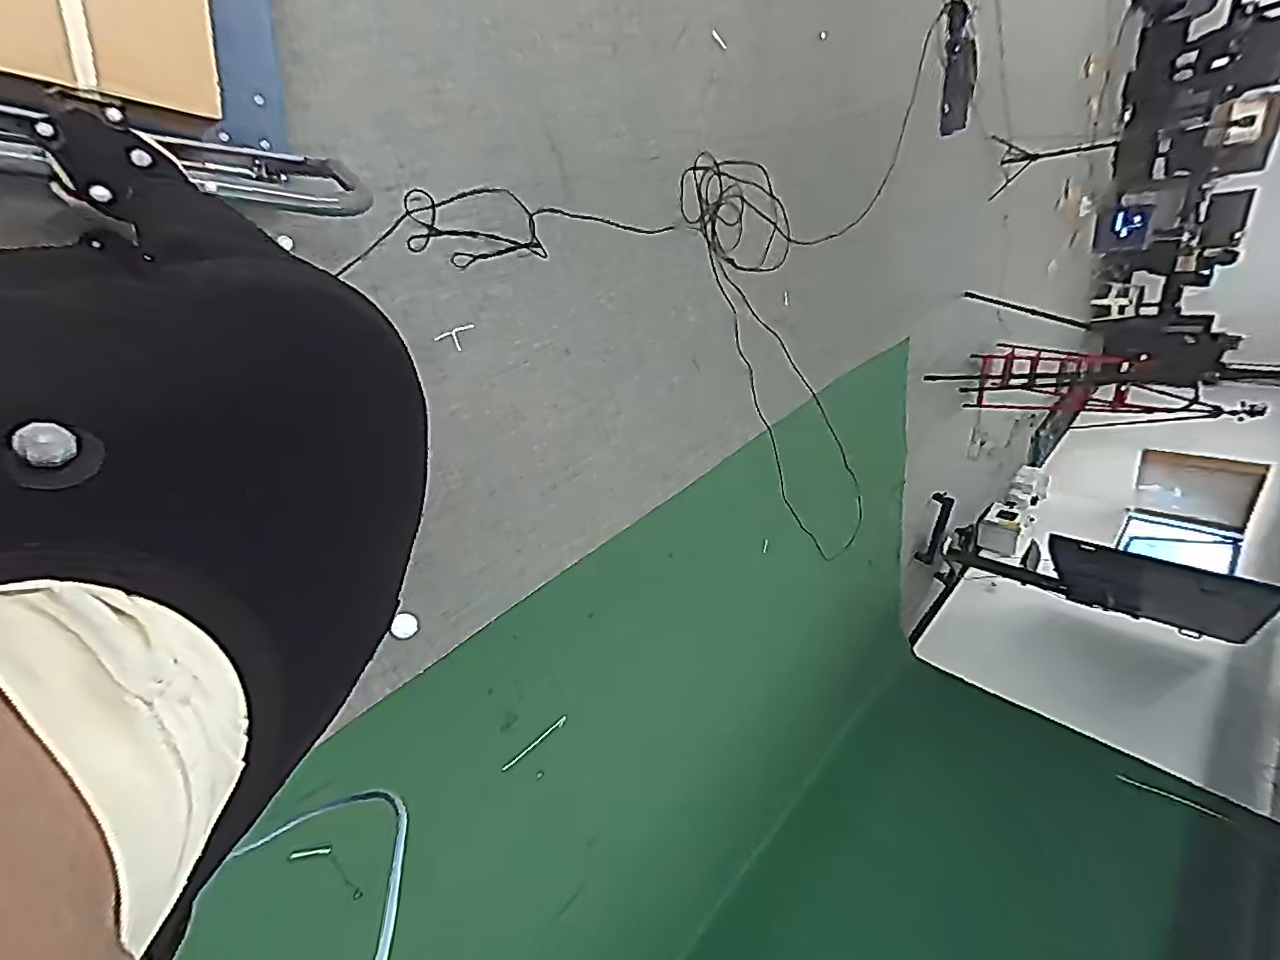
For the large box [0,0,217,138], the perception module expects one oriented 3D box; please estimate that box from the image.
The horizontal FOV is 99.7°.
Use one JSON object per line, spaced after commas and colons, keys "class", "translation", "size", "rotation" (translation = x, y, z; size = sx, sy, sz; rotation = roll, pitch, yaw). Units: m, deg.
{"class": "large box", "translation": [-0.871, -0.786, 0.802], "size": [0.320, 0.320, 0.408], "rotation": [-12, 116, -41]}
